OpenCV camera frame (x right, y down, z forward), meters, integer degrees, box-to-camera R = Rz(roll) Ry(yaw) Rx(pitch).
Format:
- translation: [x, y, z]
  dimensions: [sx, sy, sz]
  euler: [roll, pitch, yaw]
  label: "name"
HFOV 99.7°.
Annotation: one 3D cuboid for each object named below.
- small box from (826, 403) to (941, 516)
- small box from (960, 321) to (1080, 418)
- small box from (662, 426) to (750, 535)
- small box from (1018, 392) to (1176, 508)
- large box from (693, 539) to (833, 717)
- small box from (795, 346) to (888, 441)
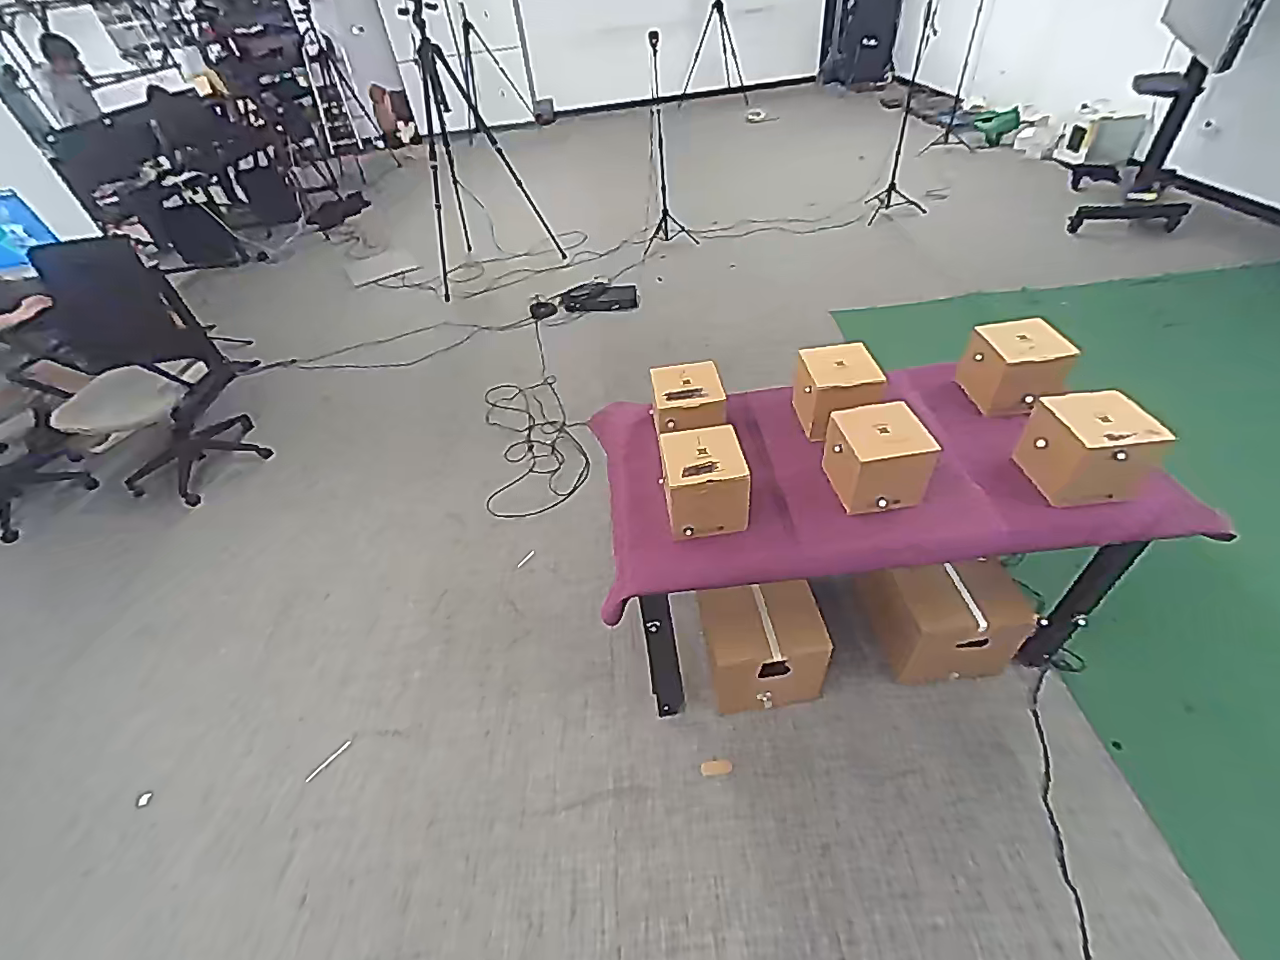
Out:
- translation: [0.525, -0.045, 1.197]
  dimensions: [0.168, 0.176, 0.179]
  euler: [-9, 43, 1]
  label: "small box"
- translation: [0.950, -0.280, 1.374]
  dimensions: [0.168, 0.176, 0.179]
  euler: [-7, 44, 4]
  label: "small box"
- translation: [0.145, 0.007, 1.198]
  dimensions: [0.168, 0.176, 0.179]
  euler: [-8, 42, 0]
  label: "small box"
- translation: [0.948, -0.063, 1.146]
  dimensions: [0.168, 0.176, 0.179]
  euler: [-7, 41, 4]
  label: "small box"
- translation: [0.358, 0.451, 1.667]
  dimensions: [0.320, 0.320, 0.408]
  euler: [-8, 42, -1]
  label: "large box"
- translation: [0.506, -0.221, 1.389]
  dimensions: [0.168, 0.176, 0.179]
  euler: [-6, 44, 1]
  label: "small box"
